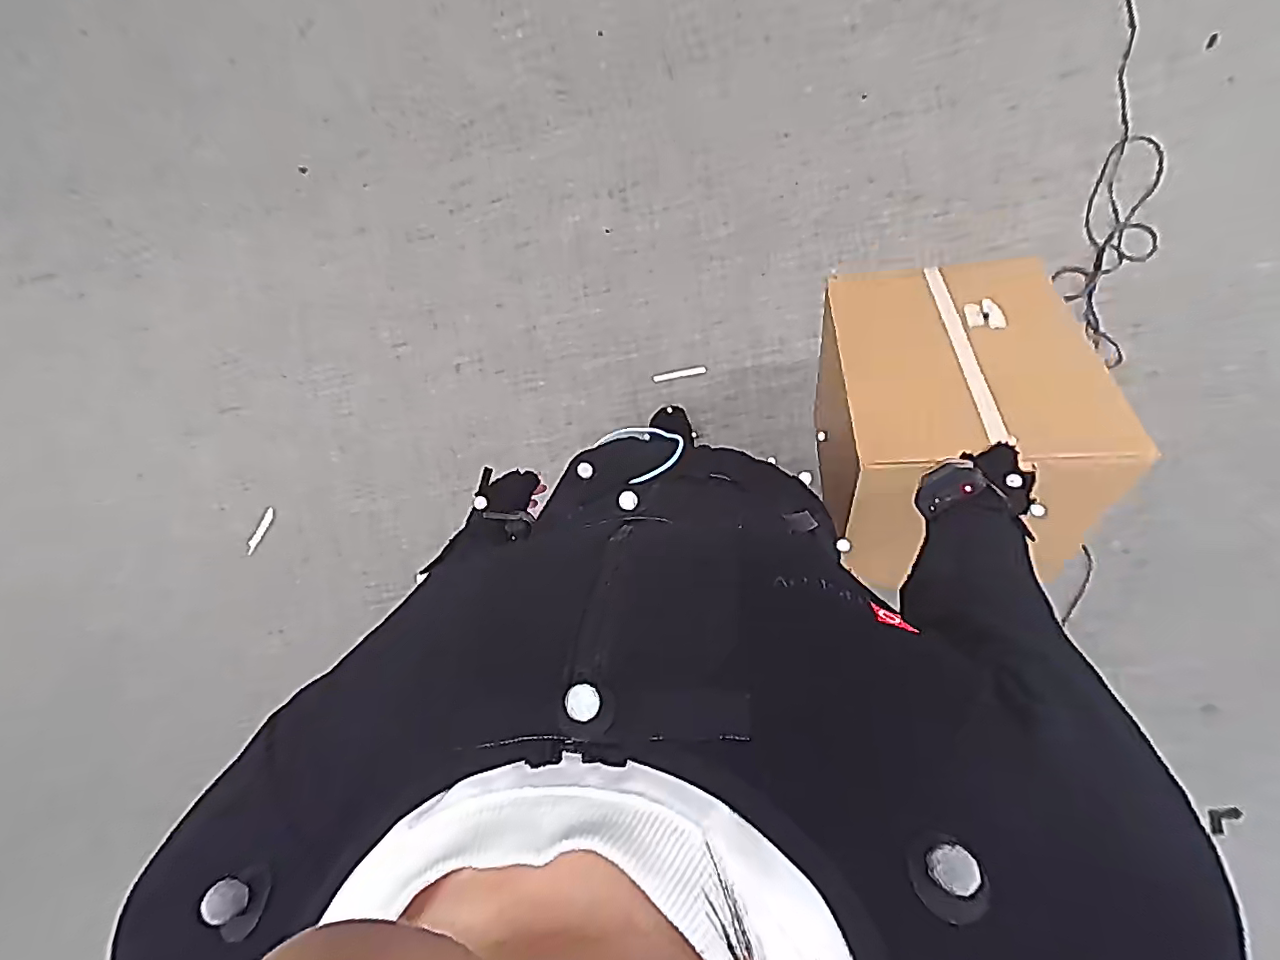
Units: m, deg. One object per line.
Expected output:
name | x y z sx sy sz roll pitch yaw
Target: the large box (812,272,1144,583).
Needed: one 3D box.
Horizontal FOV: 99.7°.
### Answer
large box | 0.469 -0.081 0.877 0.320 0.320 0.408 -1 50 10
